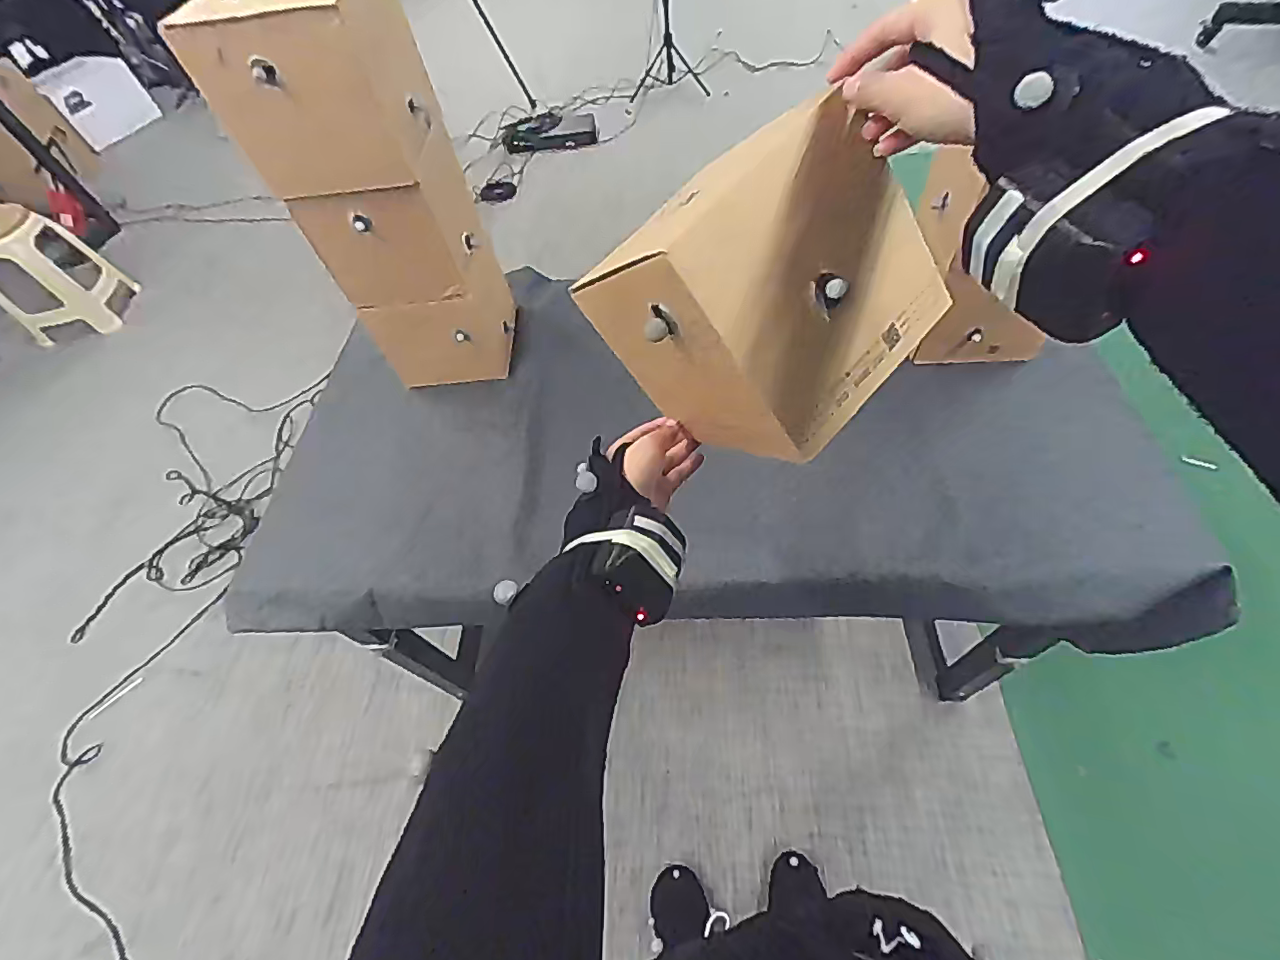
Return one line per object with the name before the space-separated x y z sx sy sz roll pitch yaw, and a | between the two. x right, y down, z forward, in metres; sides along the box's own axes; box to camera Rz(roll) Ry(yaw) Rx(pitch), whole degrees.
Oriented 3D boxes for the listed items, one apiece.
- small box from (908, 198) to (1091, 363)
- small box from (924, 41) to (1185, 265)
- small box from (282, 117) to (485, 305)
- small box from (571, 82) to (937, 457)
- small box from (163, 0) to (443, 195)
small box | 0.484 -0.289 0.778 0.168 0.176 0.179 0 58 8
small box | 0.460 -0.373 0.639 0.168 0.176 0.179 0 59 8
small box | -0.334 -0.361 0.743 0.179 0.176 0.168 -5 58 3
small box | 0.082 -0.136 0.410 0.168 0.176 0.179 -46 25 -10
small box | -0.348 -0.442 0.601 0.179 0.176 0.168 -3 58 4
